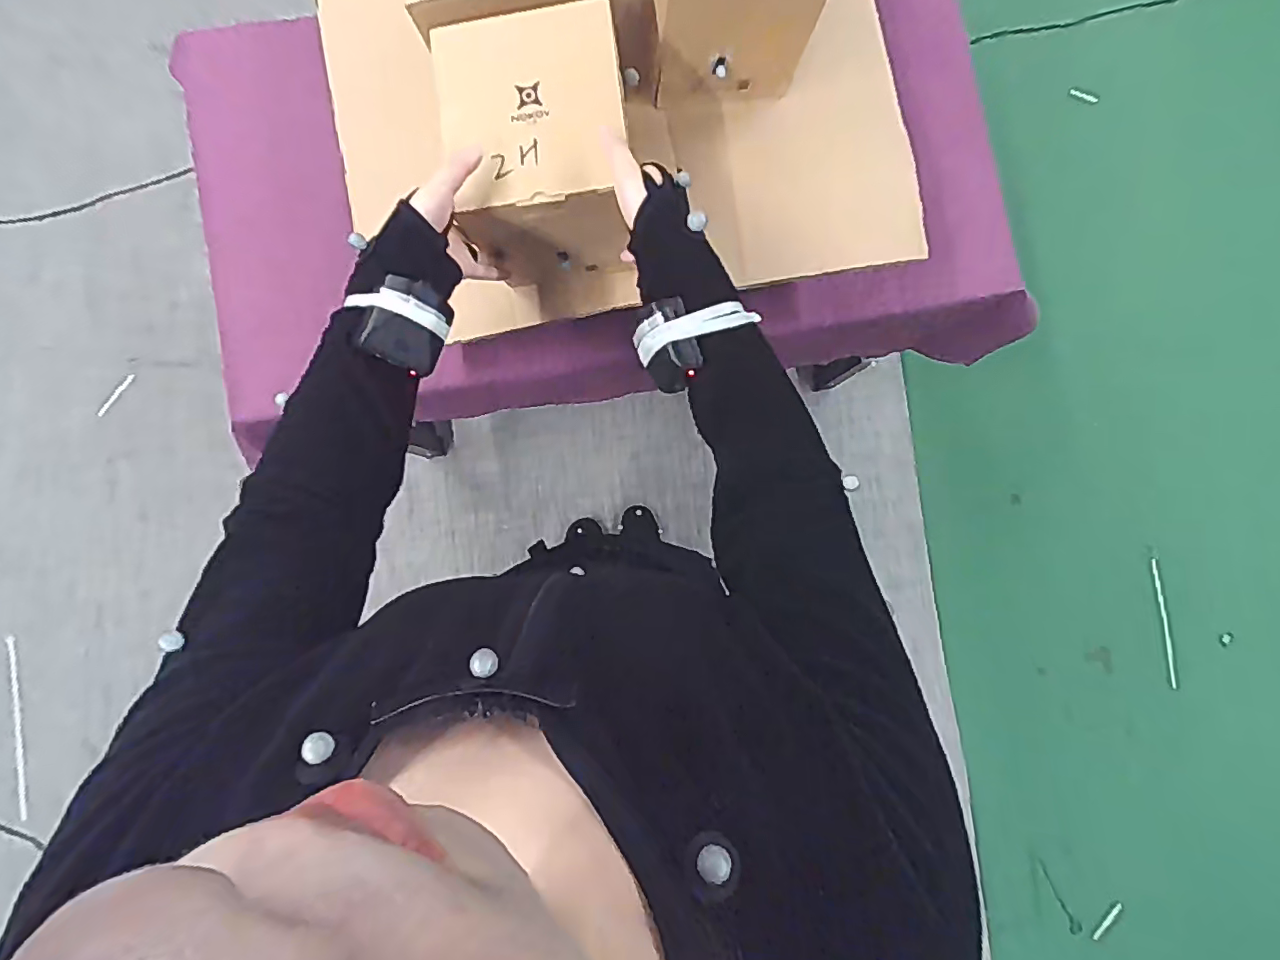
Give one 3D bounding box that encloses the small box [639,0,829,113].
[{"bbox_3d":[0.092,-0.547,0.590,0.168,0.176,0.179,-8,88,-5],"label":"small box"}]
